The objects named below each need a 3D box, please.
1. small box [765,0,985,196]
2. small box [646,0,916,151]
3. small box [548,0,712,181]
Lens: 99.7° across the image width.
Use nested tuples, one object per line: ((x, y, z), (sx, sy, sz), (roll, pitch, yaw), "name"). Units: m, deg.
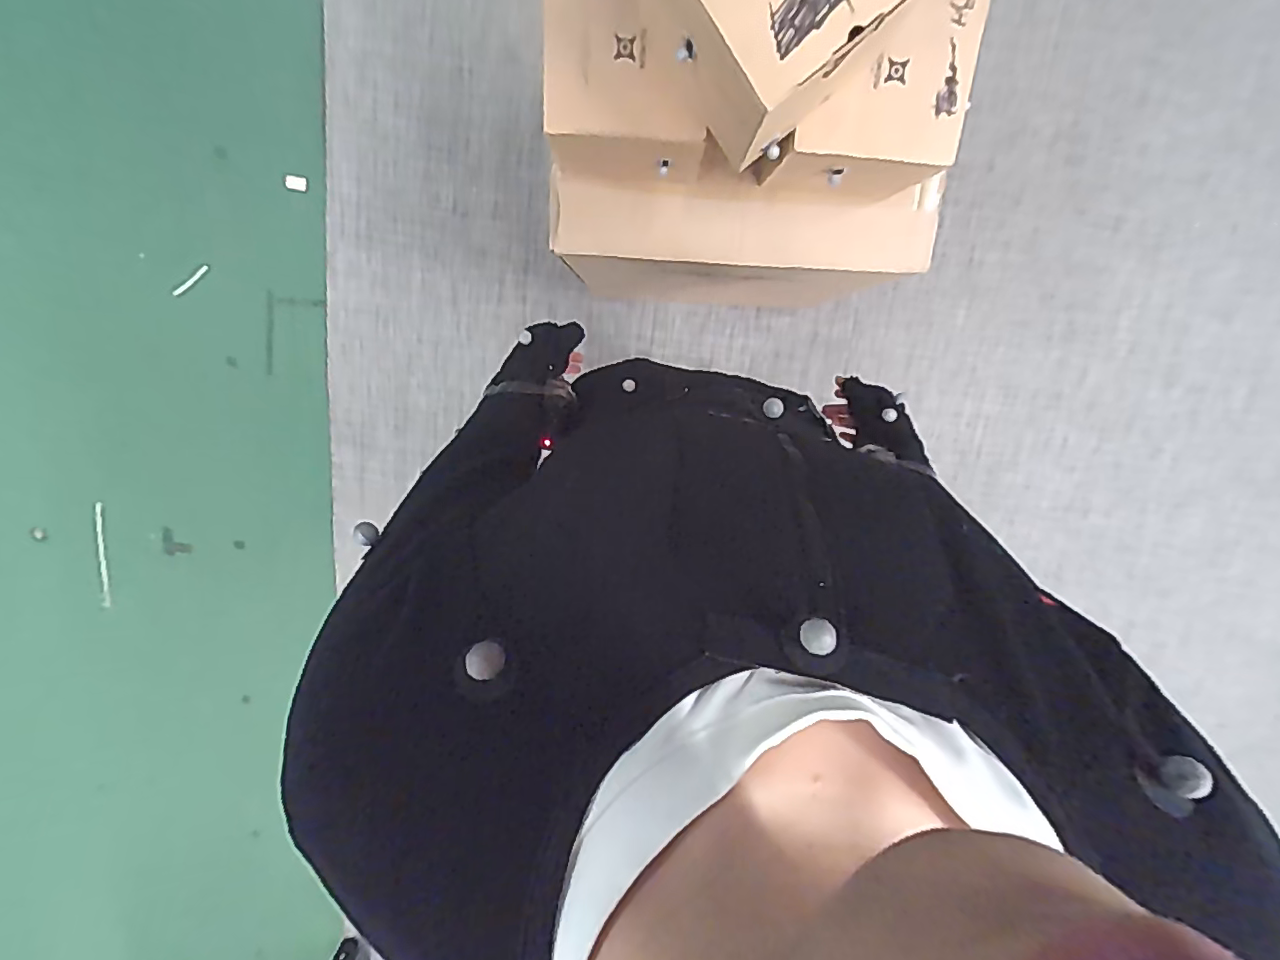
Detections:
((0.254, -0.445, 0.633), (0.179, 0.176, 0.168), (5, 107, 0), "small box")
((0.117, -0.424, 0.470), (0.168, 0.176, 0.179), (-36, 101, 10), "small box")
((-0.007, -0.463, 0.632), (0.179, 0.176, 0.168), (3, 104, 1), "small box")
